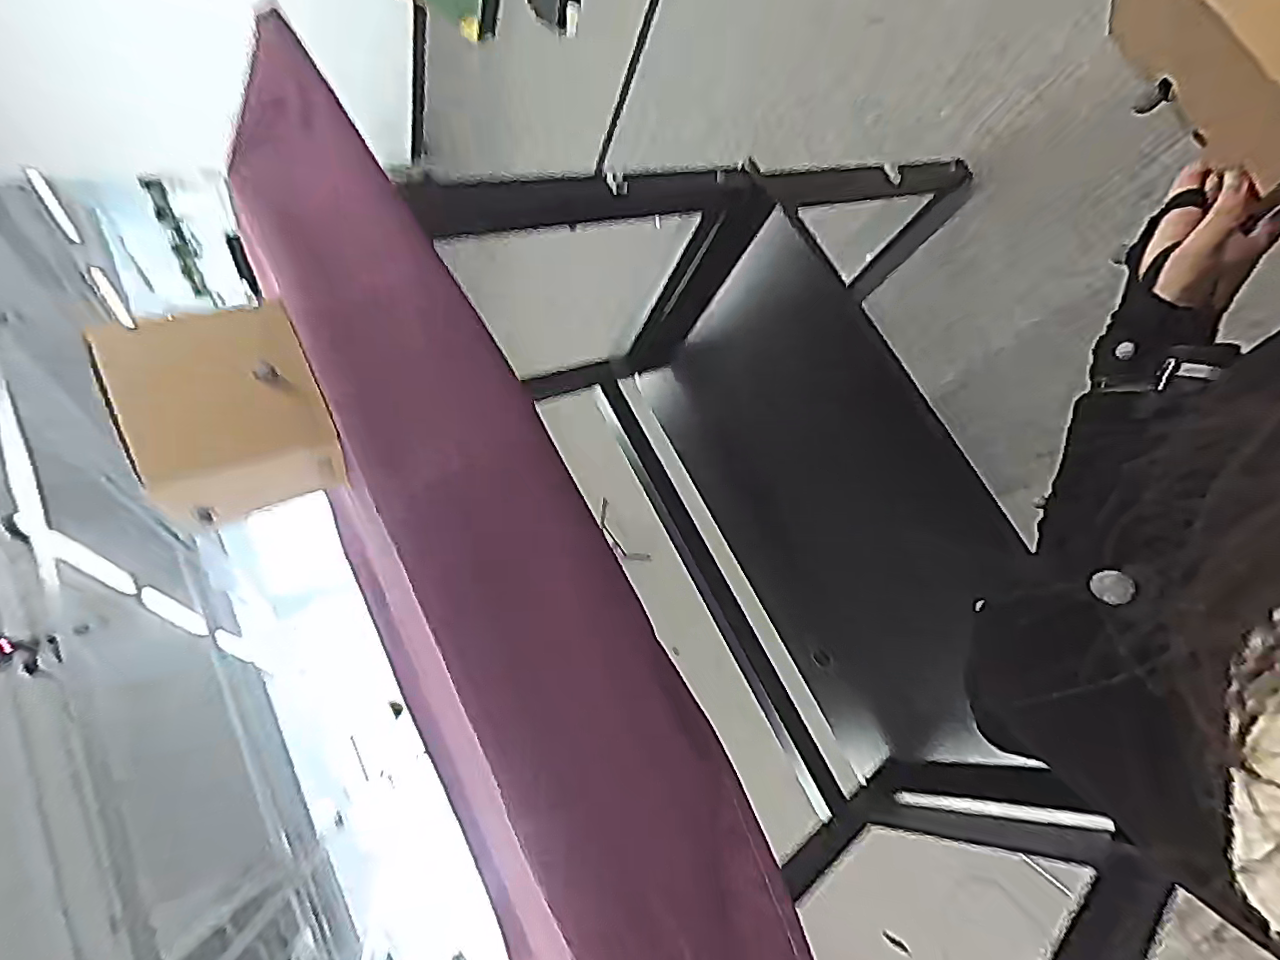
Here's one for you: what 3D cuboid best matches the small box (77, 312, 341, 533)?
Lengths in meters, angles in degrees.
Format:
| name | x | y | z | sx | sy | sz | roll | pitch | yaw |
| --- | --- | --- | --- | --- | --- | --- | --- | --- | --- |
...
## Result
| name | x | y | z | sx | sy | sz | roll | pitch | yaw |
| --- | --- | --- | --- | --- | --- | --- | --- | --- | --- |
| small box | -0.450 | -0.066 | 0.596 | 0.179 | 0.176 | 0.168 | 64 | 151 | 8 |
